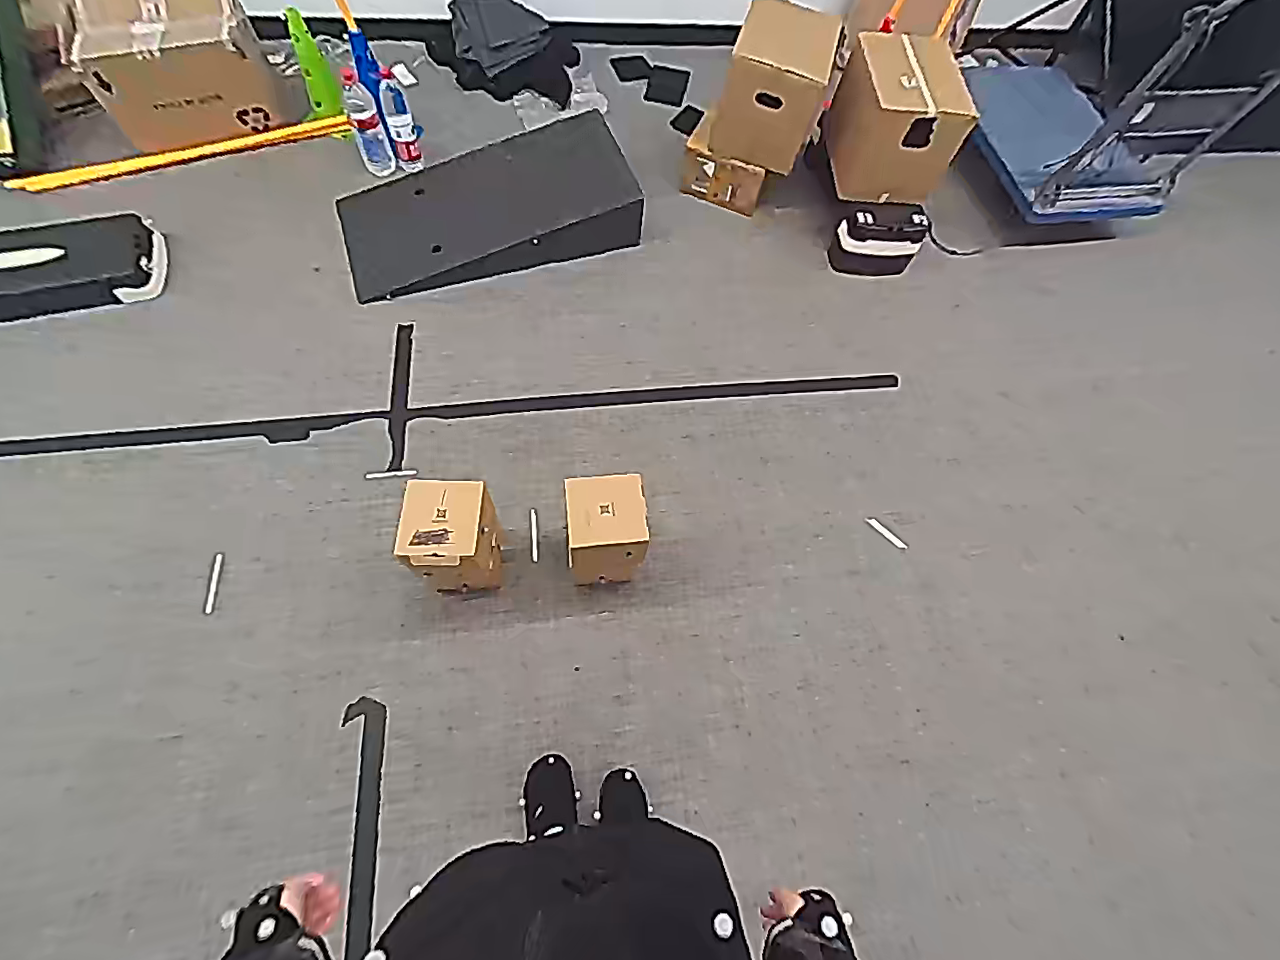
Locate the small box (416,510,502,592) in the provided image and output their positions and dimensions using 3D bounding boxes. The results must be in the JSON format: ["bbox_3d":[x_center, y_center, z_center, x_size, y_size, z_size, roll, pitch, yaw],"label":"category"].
[{"bbox_3d":[-0.446,0.181,1.363,0.179,0.176,0.168,-2,65,-7],"label":"small box"}]

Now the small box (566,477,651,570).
[{"bbox_3d":[-0.078,0.104,1.253,0.179,0.176,0.168,-4,65,-7],"label":"small box"}]

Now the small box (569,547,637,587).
[{"bbox_3d":[-0.100,0.168,1.402,0.168,0.176,0.179,-2,66,-6],"label":"small box"}]

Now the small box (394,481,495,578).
[{"bbox_3d":[-0.426,0.117,1.211,0.168,0.176,0.179,2,65,-5],"label":"small box"}]
